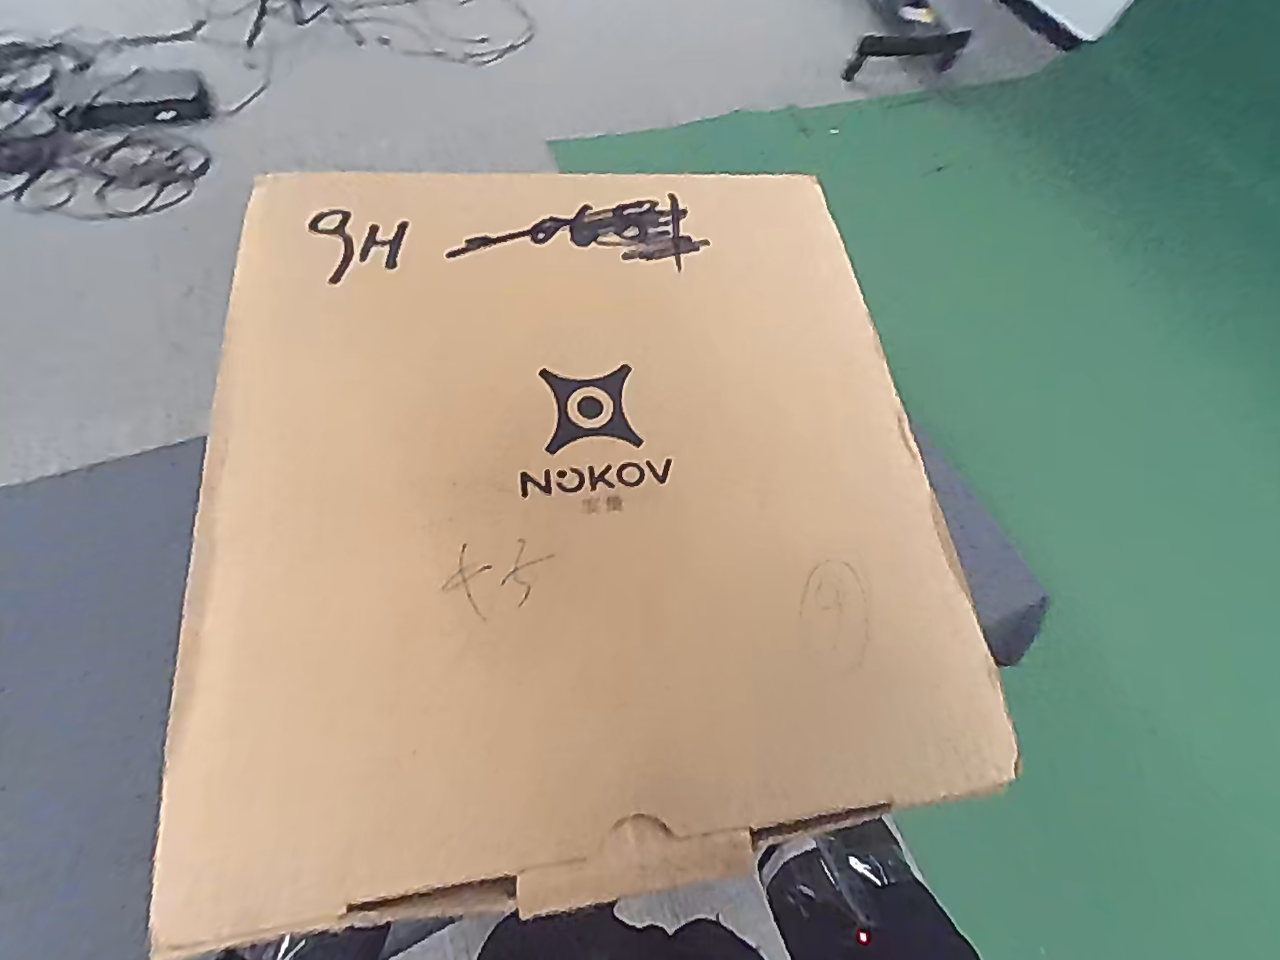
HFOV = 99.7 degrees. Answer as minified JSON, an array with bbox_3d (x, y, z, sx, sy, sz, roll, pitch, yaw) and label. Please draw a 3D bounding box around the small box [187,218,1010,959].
[{"bbox_3d":[-0.018,0.032,0.206,0.168,0.176,0.179,-4,71,-9],"label":"small box"}]
